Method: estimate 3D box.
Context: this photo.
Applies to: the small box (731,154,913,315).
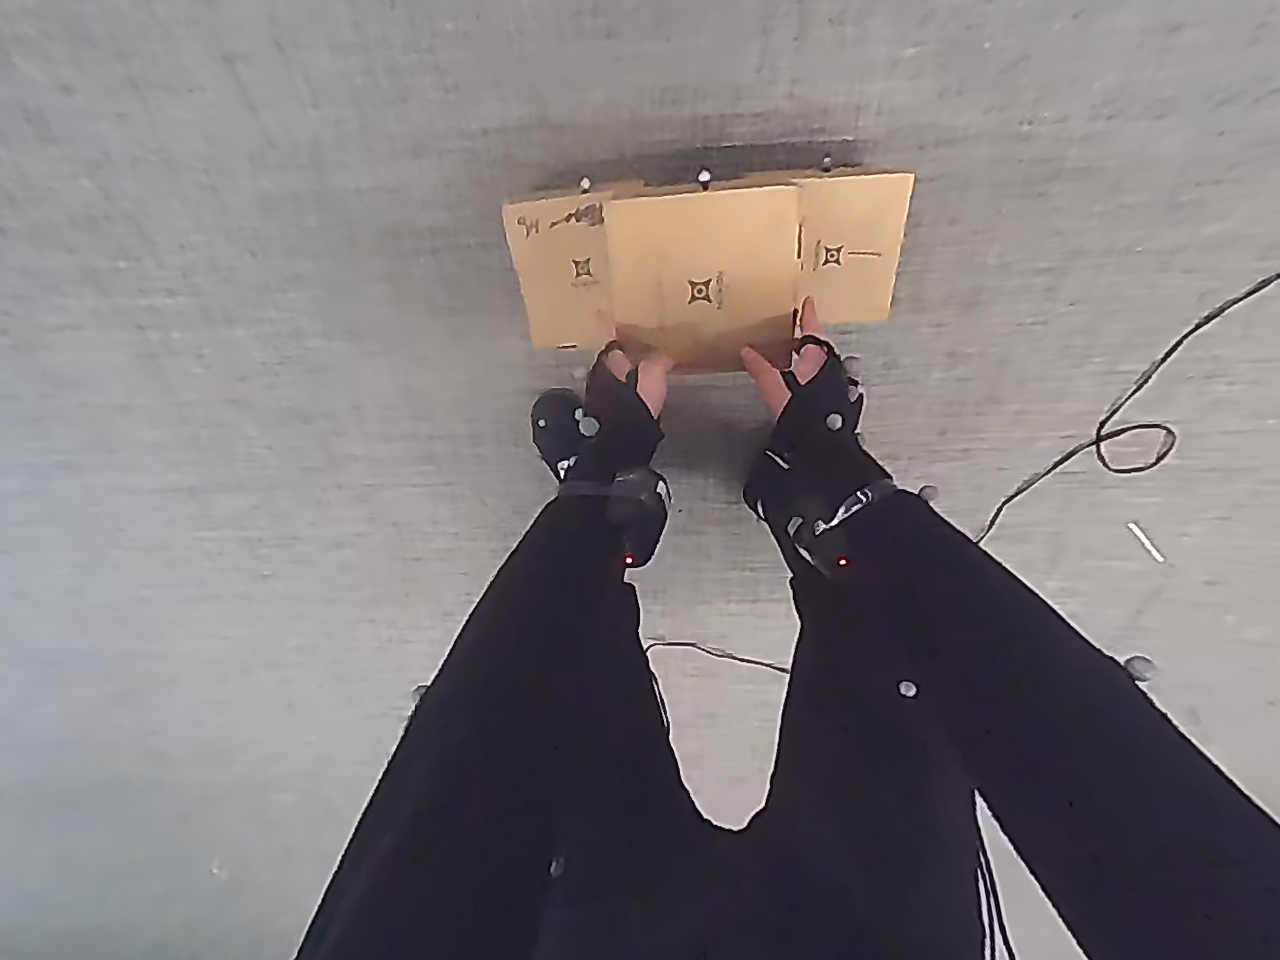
[{"bbox_3d":[0.217,-0.323,0.704,0.179,0.176,0.168,2,125,2],"label":"small box"}]
